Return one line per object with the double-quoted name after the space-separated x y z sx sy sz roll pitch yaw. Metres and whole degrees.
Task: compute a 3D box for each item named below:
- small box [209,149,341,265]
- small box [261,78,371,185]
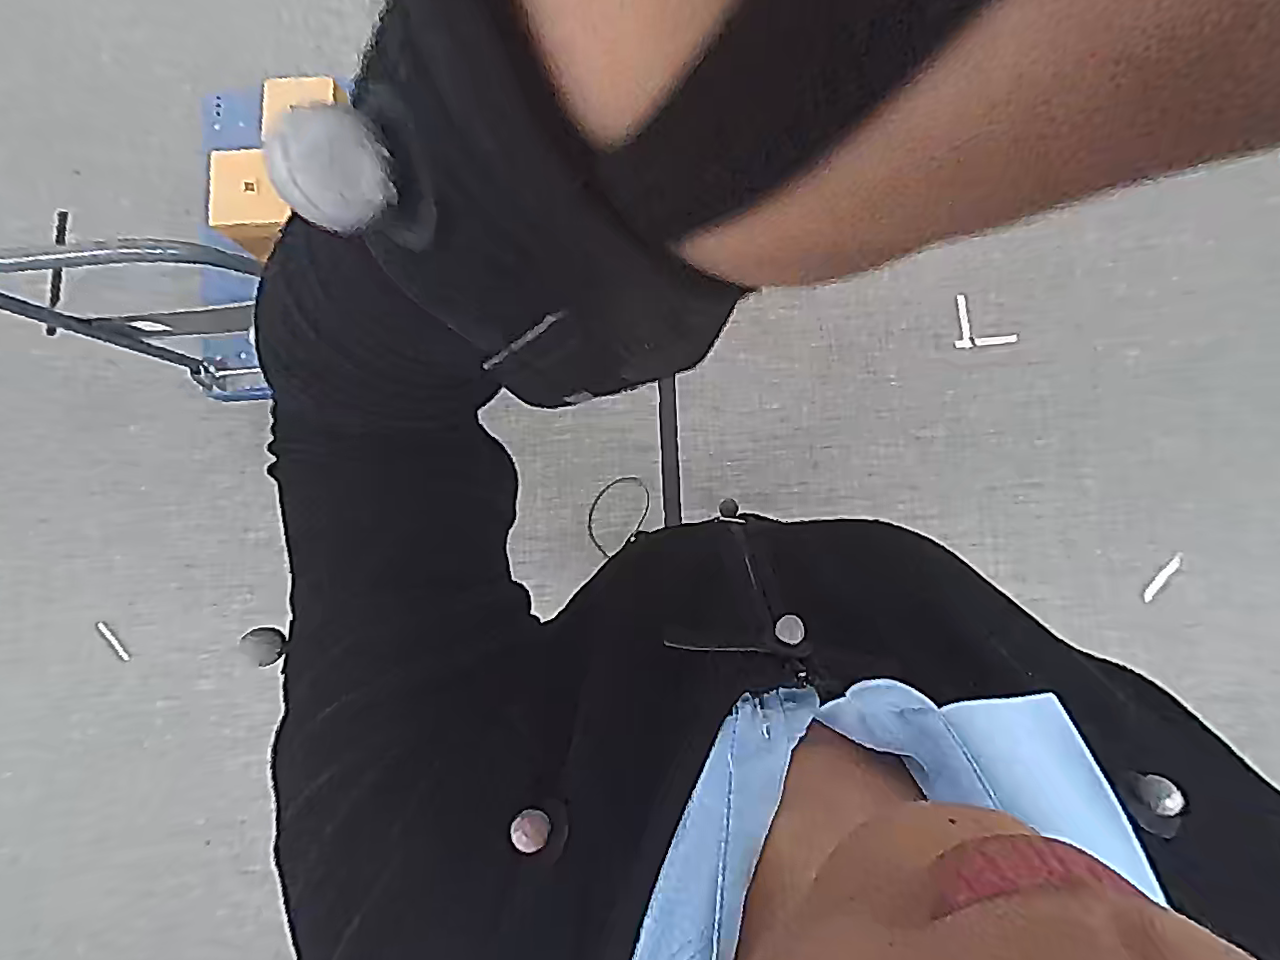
-0.789 -0.588 1.182 0.179 0.176 0.168 -3 84 0 "small box"
-0.816 -0.876 1.374 0.179 0.176 0.168 -1 85 1 "small box"
